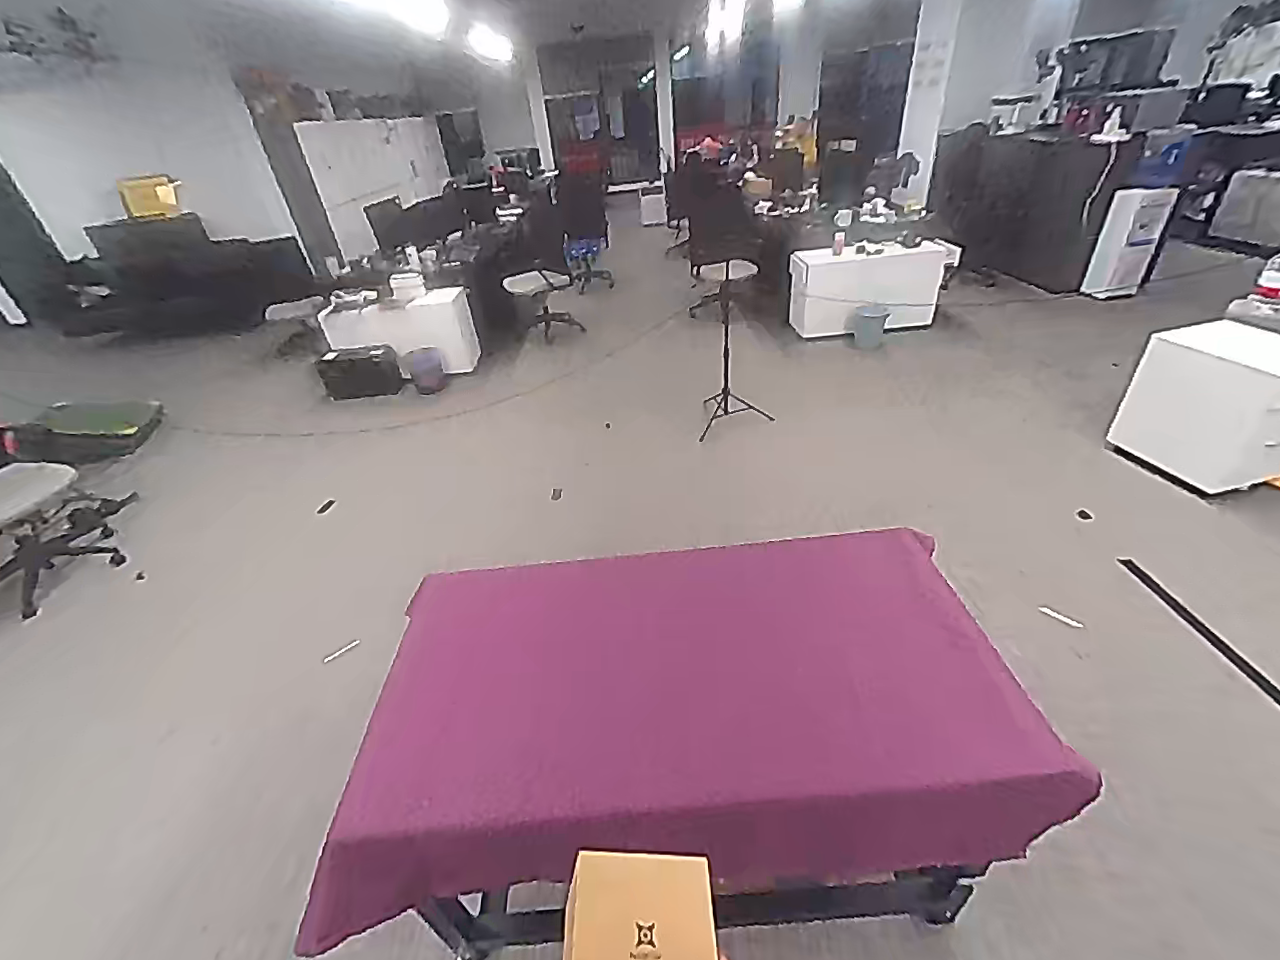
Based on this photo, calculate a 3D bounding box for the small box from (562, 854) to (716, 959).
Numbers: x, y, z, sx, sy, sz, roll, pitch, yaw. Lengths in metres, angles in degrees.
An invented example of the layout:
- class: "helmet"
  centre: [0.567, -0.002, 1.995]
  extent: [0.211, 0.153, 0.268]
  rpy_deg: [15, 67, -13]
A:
- class: "small box"
  centre: [-0.009, 0.588, 0.646]
  extent: [0.168, 0.176, 0.179]
  rpy_deg: [7, 32, -5]
